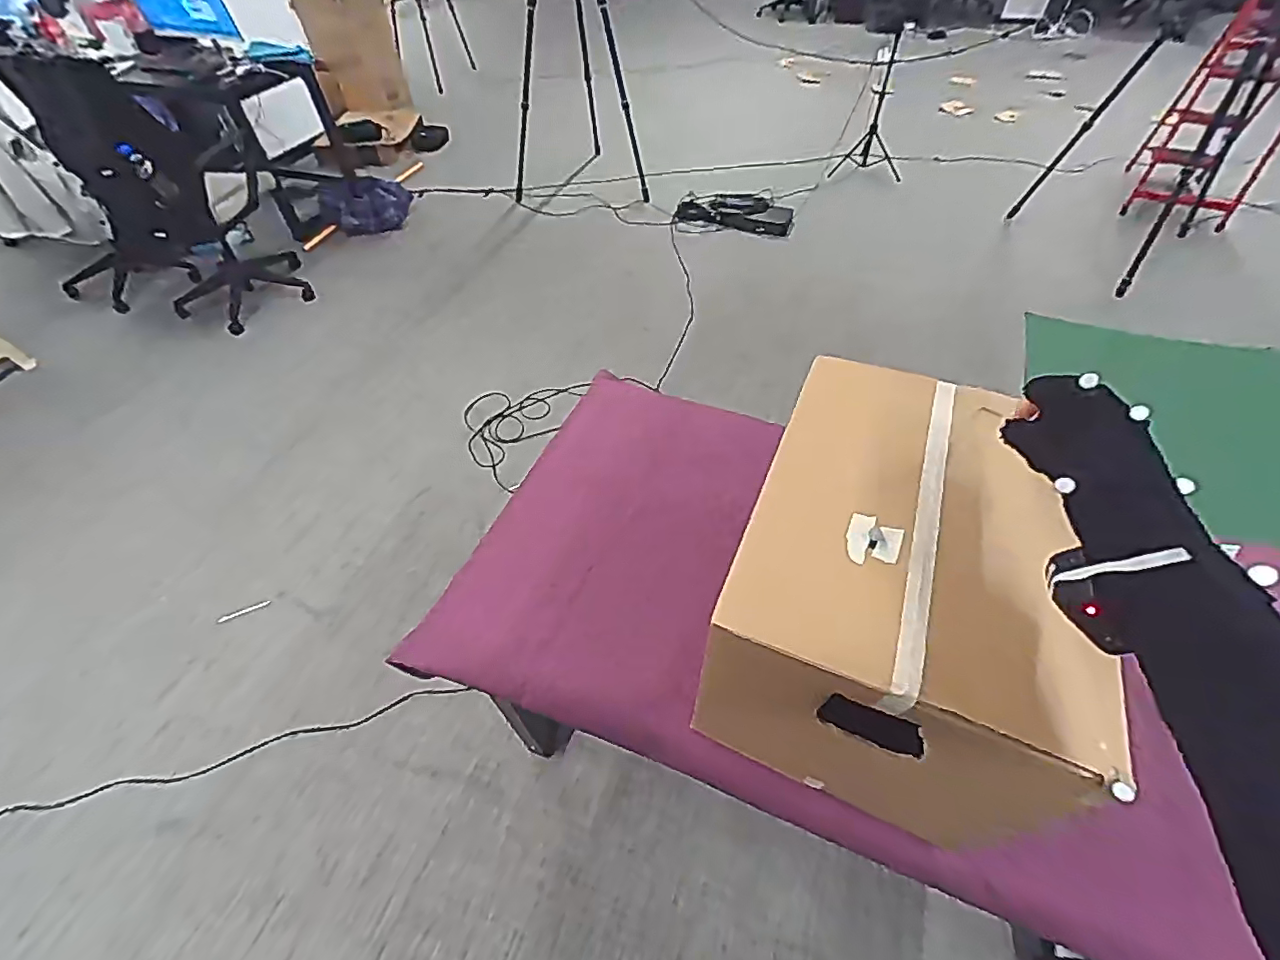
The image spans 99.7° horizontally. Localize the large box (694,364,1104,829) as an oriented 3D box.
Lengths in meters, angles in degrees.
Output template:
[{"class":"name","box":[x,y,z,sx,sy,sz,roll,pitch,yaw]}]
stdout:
[{"class":"large box","box":[0.285,0.129,0.665,0.320,0.320,0.408,19,54,17]}]
